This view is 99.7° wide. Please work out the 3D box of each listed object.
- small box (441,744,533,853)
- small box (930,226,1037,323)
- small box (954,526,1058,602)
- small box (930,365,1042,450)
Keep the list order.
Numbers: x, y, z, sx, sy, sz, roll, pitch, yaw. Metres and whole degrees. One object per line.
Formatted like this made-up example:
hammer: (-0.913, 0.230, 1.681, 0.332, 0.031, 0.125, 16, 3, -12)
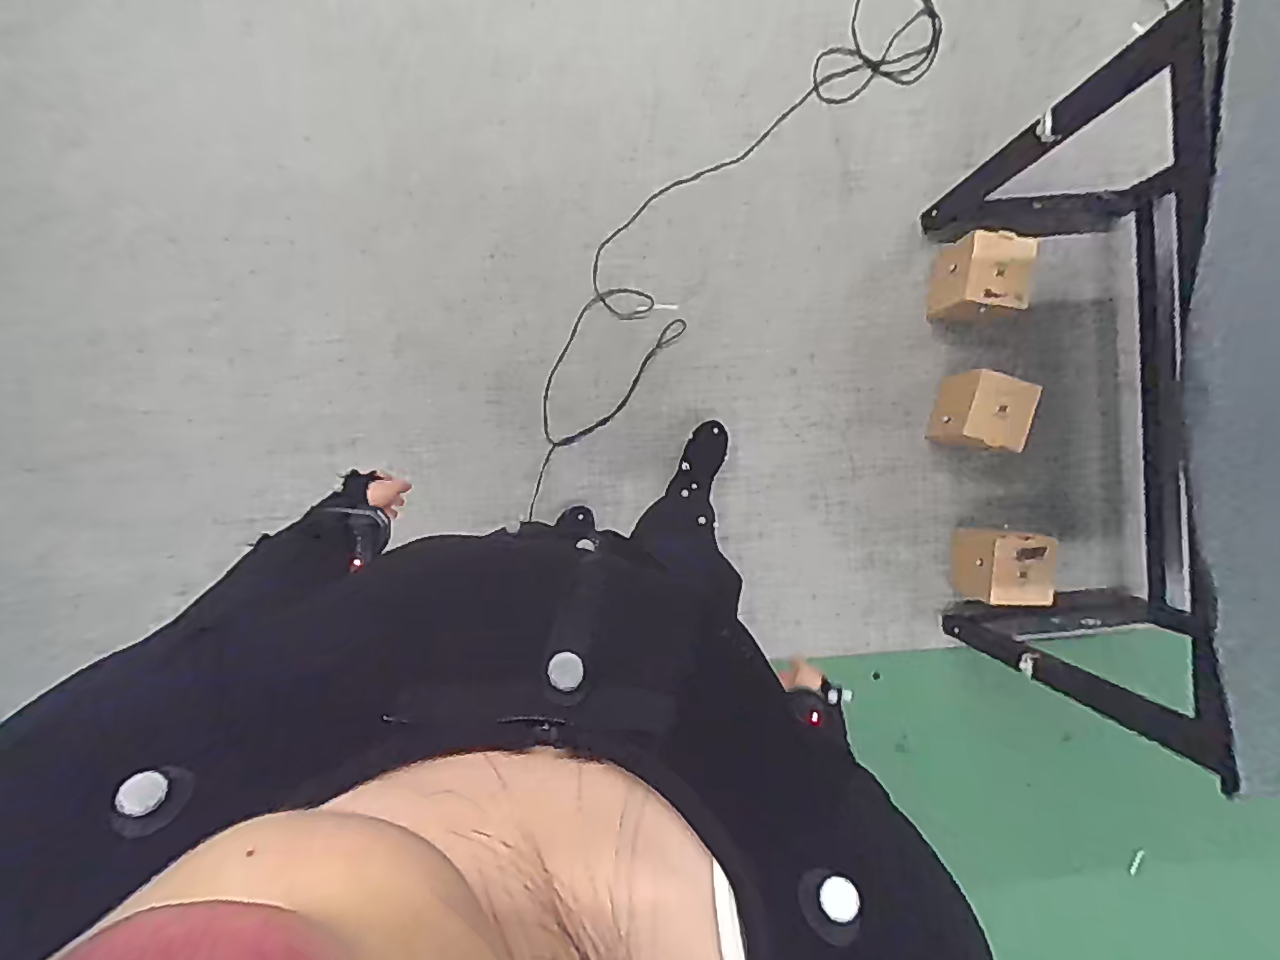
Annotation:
small box: (-0.389, 0.820, 1.408, 0.179, 0.176, 0.168, 15, 91, -2)
small box: (0.888, -0.529, 1.413, 0.168, 0.176, 0.179, 8, 91, -2)
small box: (0.967, 0.218, 1.441, 0.168, 0.176, 0.179, 1, 93, -2)
small box: (0.900, -0.183, 1.425, 0.168, 0.176, 0.179, 16, 90, -3)
